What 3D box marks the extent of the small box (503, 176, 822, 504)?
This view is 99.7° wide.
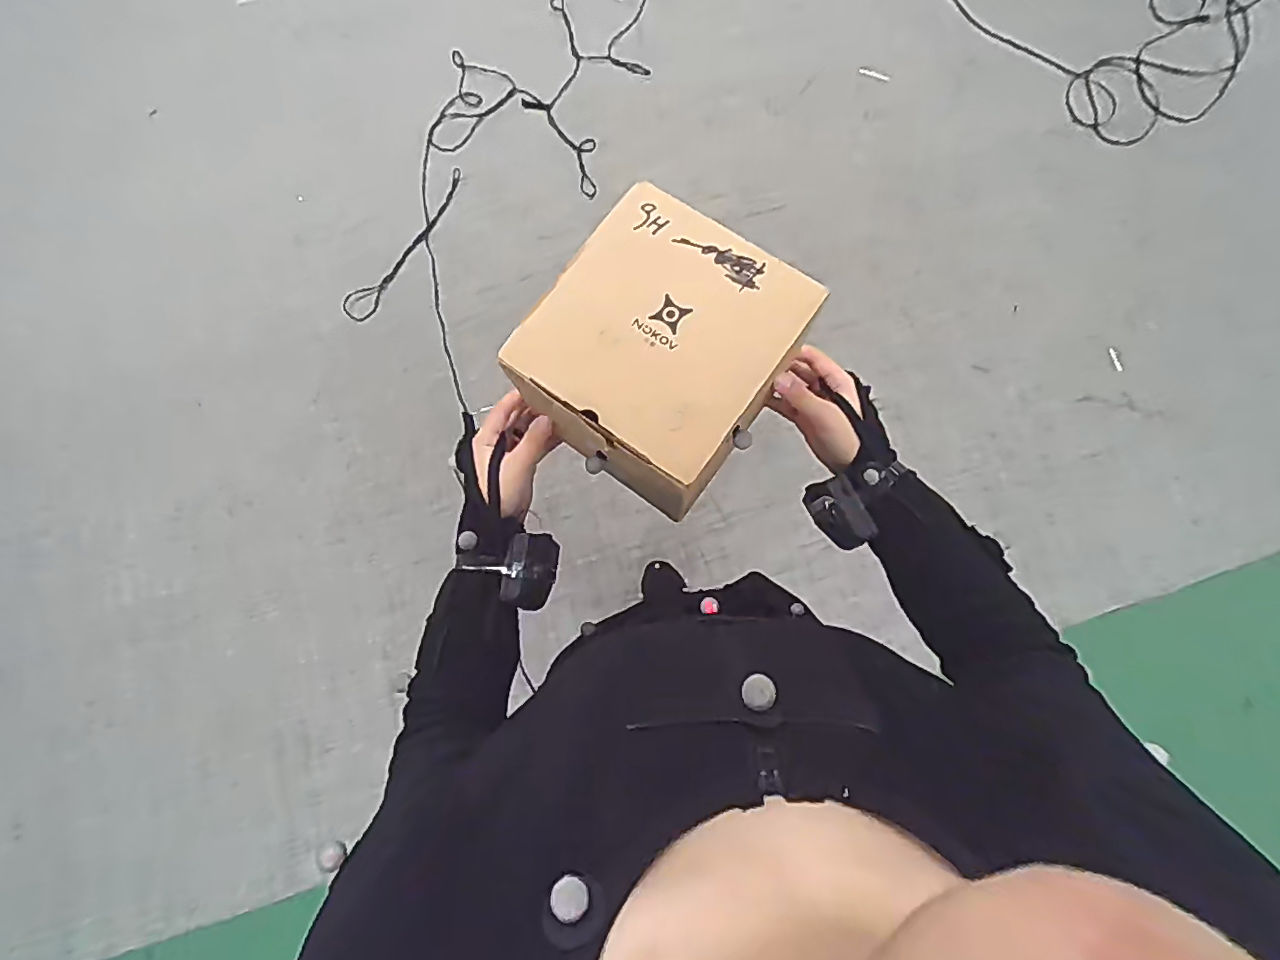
[{"bbox_3d":[0.021,-0.099,0.460,0.168,0.176,0.179,35,82,9],"label":"small box"}]
